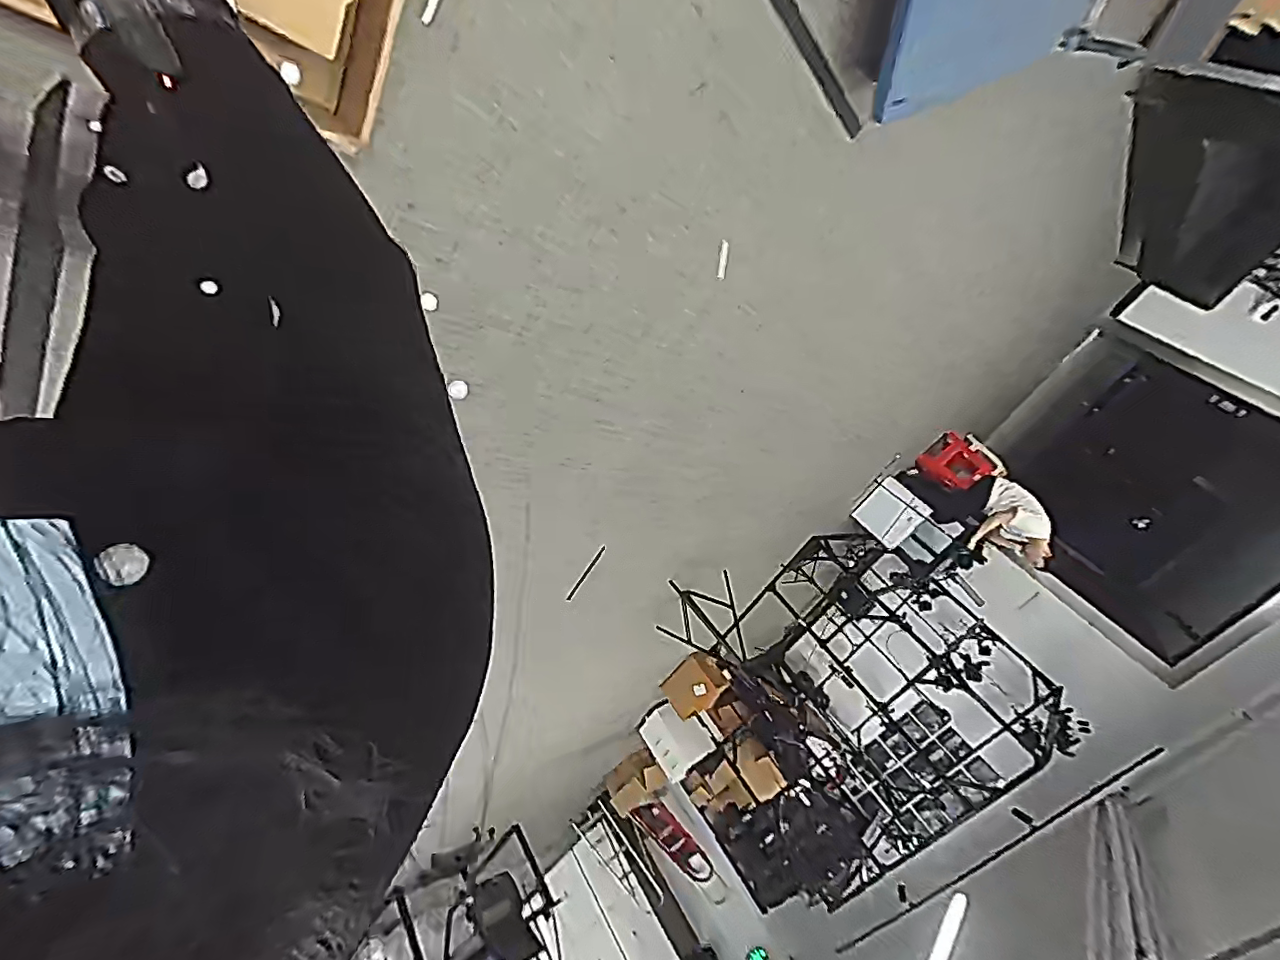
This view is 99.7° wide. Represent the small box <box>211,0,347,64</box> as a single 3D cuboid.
[{"bbox_3d":[-0.473,-0.678,0.675,0.168,0.176,0.179,2,128,-49],"label":"small box"}]
